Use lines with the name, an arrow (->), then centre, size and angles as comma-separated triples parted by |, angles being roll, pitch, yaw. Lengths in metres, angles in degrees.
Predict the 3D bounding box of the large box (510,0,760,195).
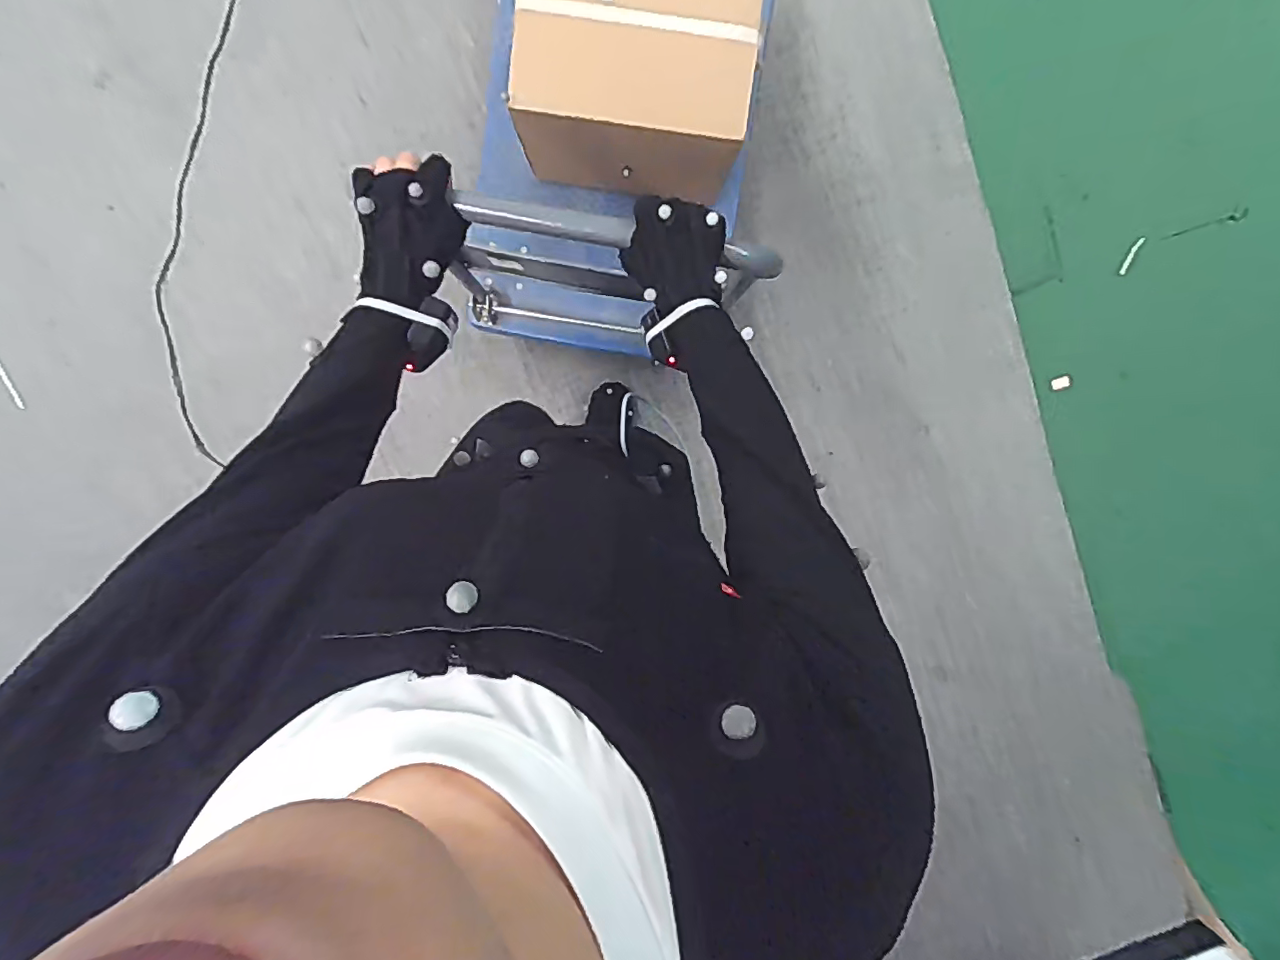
large box -> -0.006, -0.776, 1.033 | 0.408, 0.320, 0.320 | 6, 98, -2
